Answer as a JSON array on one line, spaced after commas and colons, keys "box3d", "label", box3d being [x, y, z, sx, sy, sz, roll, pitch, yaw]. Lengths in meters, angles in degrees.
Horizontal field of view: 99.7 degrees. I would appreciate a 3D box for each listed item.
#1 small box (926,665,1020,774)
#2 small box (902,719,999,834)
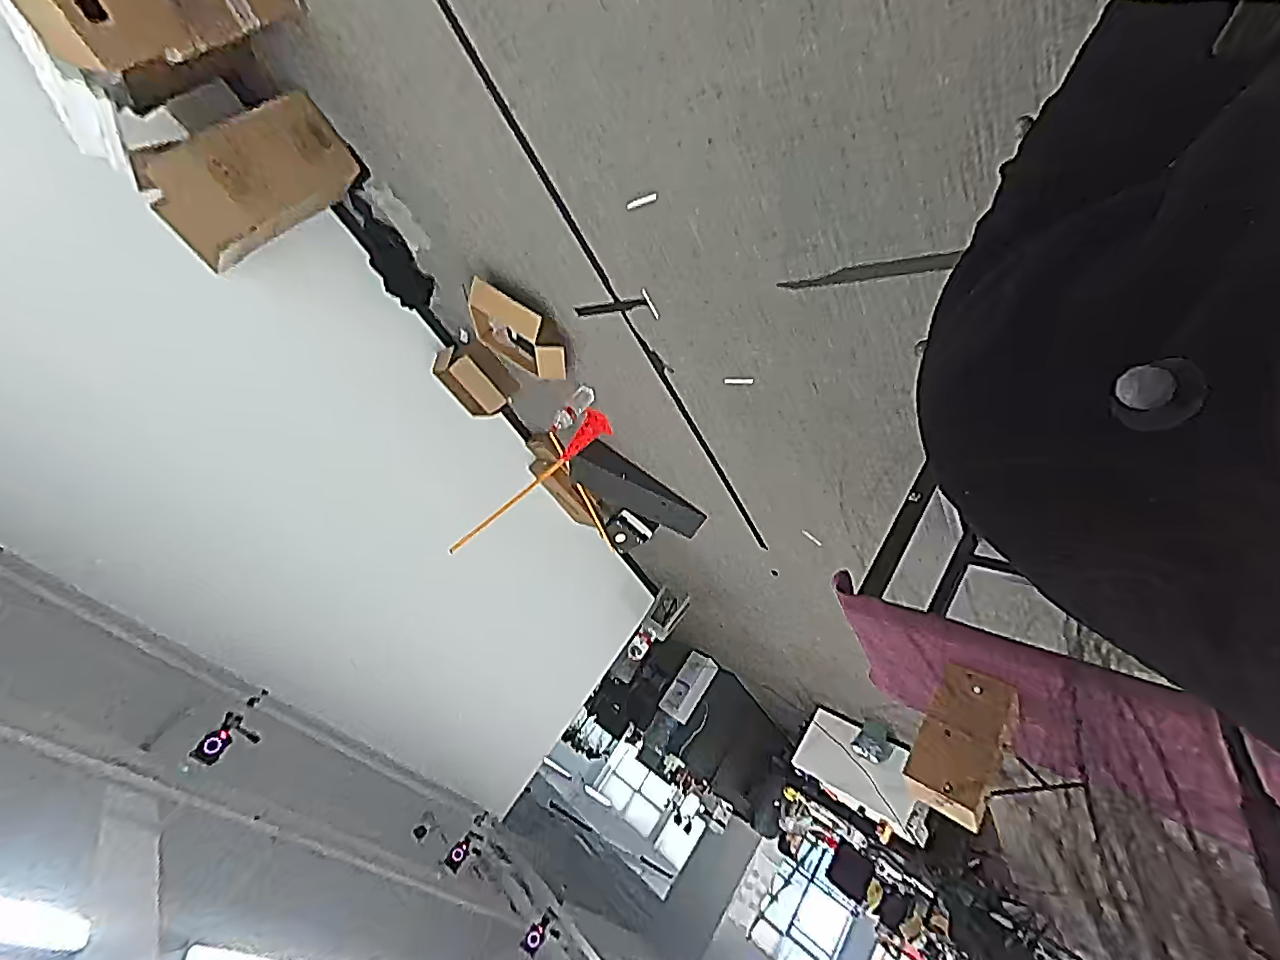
[{"box3d": [0.883, 0.626, 1.426, 0.168, 0.176, 0.179, 14, 146, 45], "label": "small box"}, {"box3d": [0.785, 0.741, 1.361, 0.168, 0.176, 0.179, 15, 149, 43], "label": "small box"}]
